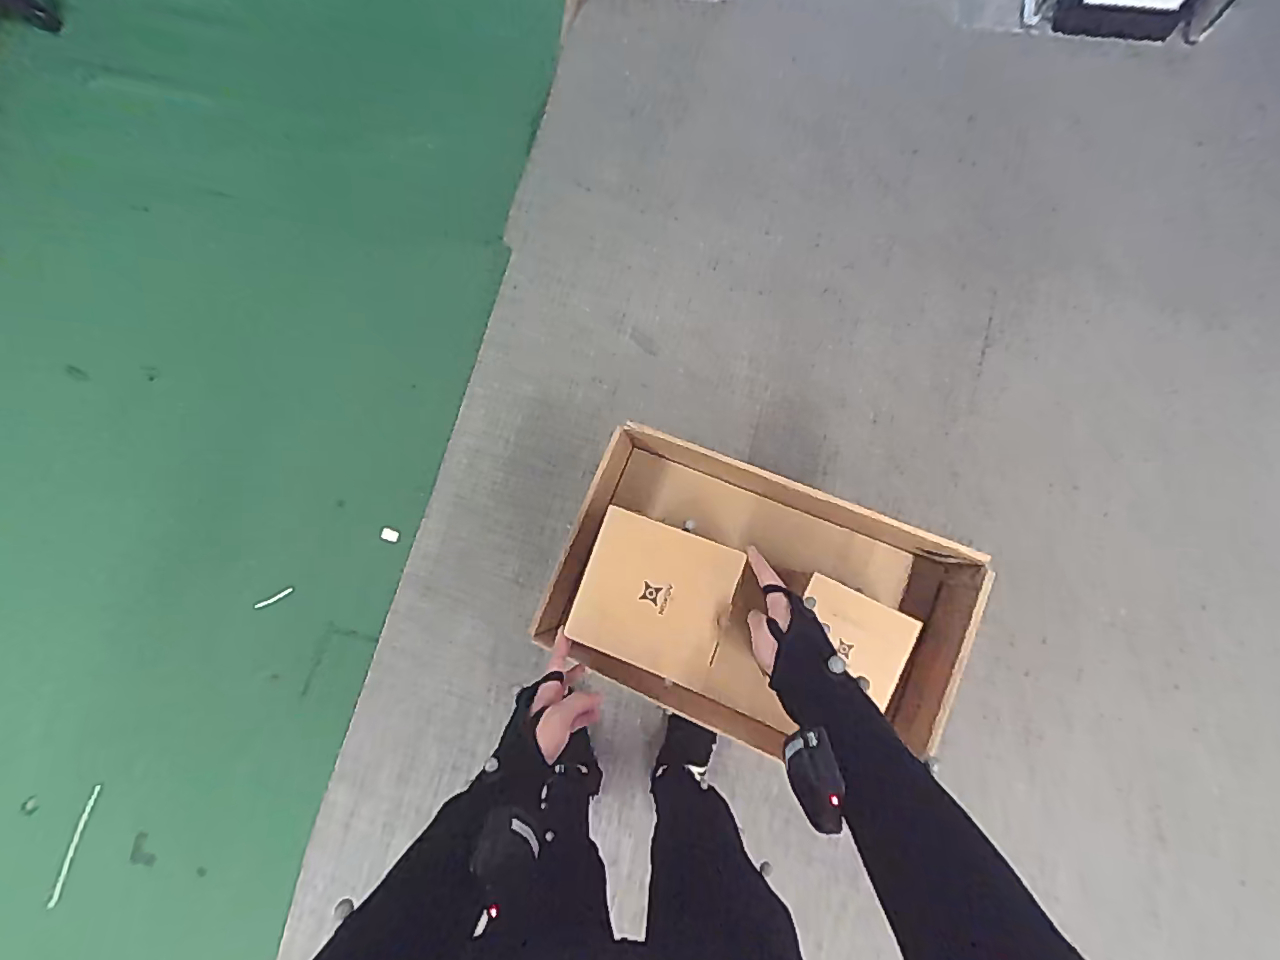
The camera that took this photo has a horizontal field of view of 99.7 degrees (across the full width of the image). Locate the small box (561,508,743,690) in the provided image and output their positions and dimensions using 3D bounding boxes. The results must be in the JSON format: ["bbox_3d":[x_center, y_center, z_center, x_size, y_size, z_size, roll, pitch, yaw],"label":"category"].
[{"bbox_3d":[0.023,0.146,0.709,0.179,0.176,0.168,18,86,9],"label":"small box"}]

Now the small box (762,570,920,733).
[{"bbox_3d":[0.302,0.256,0.854,0.168,0.176,0.179,25,86,11],"label":"small box"}]
